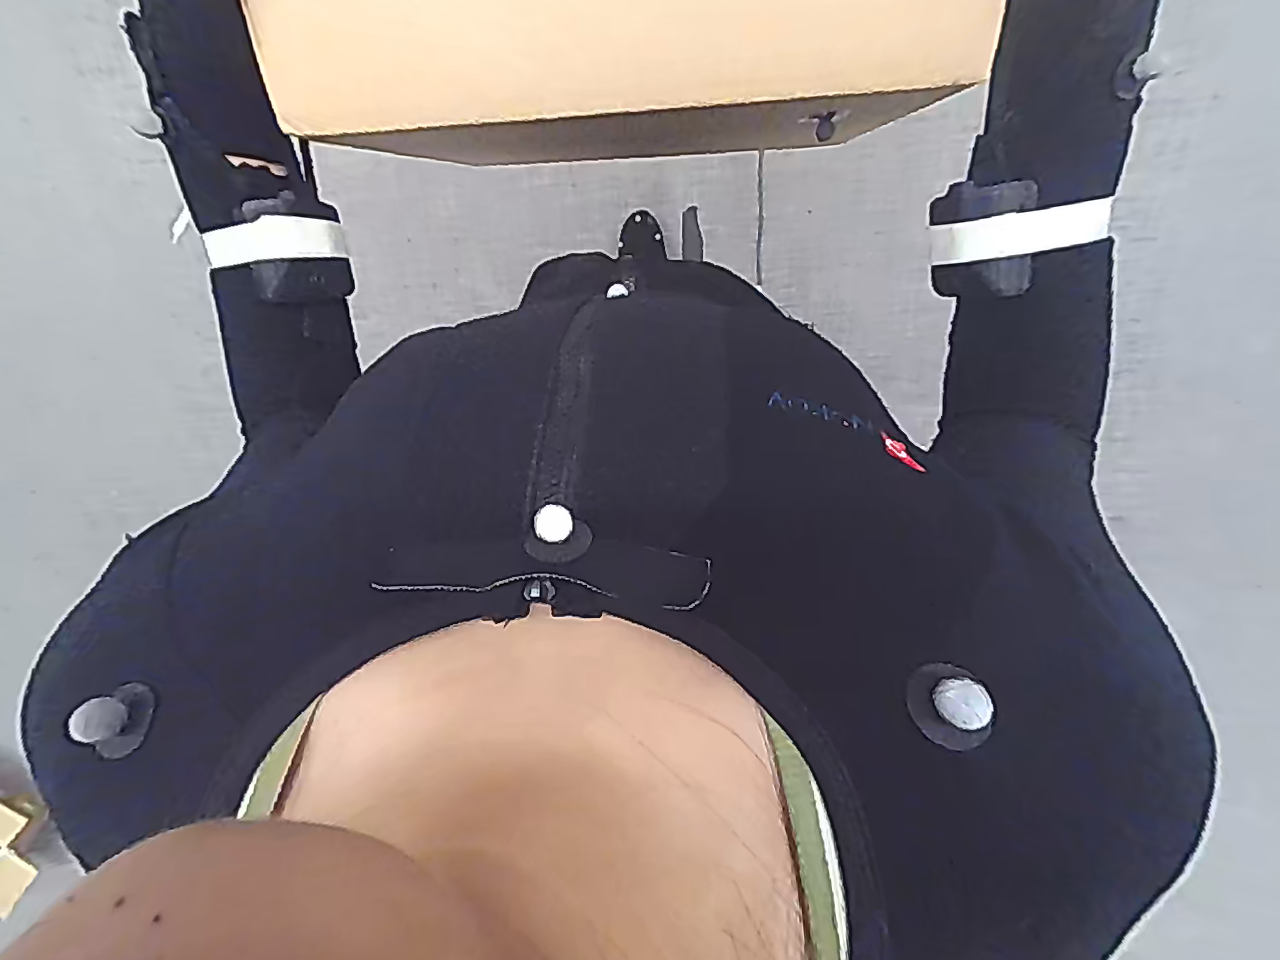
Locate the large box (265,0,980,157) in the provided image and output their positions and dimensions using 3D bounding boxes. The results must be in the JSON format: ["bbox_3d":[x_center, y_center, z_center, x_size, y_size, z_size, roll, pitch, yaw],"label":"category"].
[{"bbox_3d":[-0.009,-0.427,0.382,0.408,0.320,0.320,0,117,6],"label":"large box"}]
